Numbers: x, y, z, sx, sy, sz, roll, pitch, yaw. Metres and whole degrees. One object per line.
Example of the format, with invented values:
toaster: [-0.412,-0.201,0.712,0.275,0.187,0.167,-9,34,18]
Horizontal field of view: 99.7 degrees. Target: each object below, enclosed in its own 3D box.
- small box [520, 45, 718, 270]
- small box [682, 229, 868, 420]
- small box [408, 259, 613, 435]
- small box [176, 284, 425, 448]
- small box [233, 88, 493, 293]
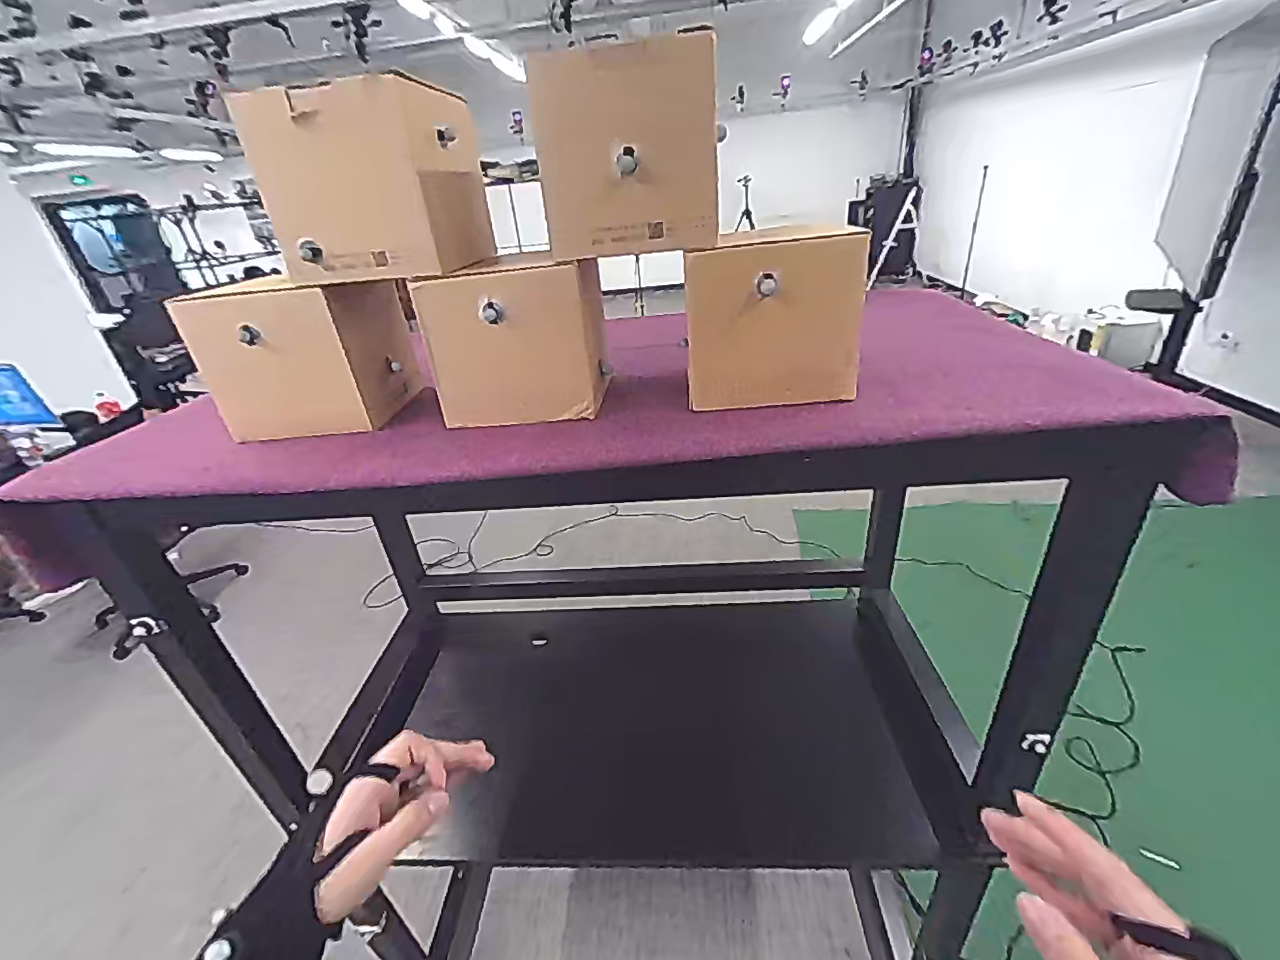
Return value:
small box: [-0.009,-0.318,0.563,0.168,0.176,0.179,-4,28,5]
small box: [0.141,-0.179,0.616,0.179,0.176,0.168,-5,28,7]
small box: [-0.136,-0.160,0.642,0.179,0.176,0.168,-3,28,6]
small box: [-0.401,-0.148,0.678,0.179,0.176,0.168,-4,29,4]
small box: [-0.276,-0.303,0.591,0.168,0.176,0.179,-2,28,7]
